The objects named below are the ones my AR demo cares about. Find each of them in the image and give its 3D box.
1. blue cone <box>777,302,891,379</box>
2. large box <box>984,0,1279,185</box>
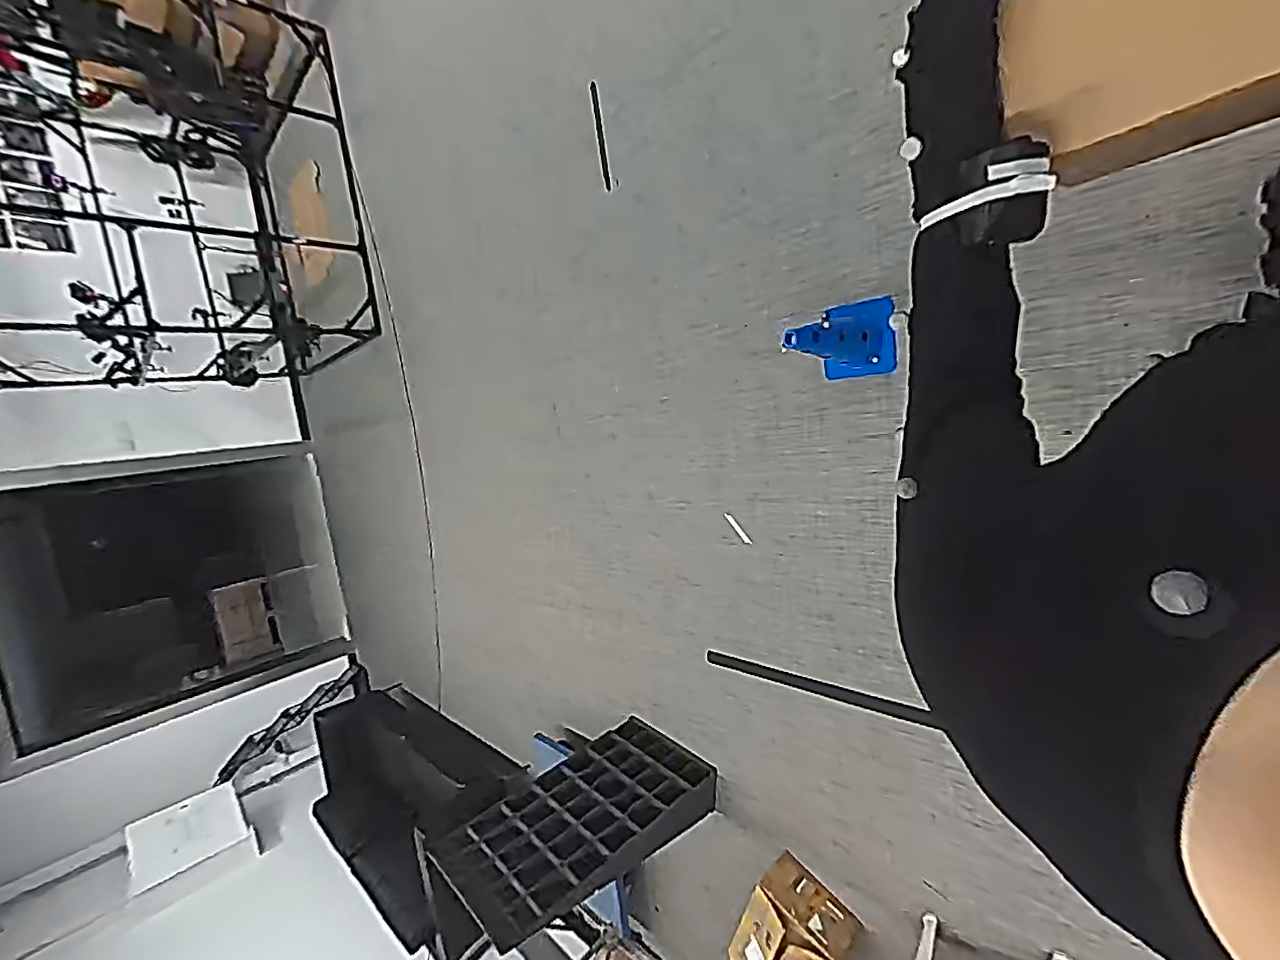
[{"bbox_3d":[0.476,-0.355,1.377,0.192,0.380,0.193,4,103,47],"label":"blue cone"},{"bbox_3d":[0.477,-0.444,0.349,0.408,0.320,0.320,-4,106,46],"label":"large box"}]
